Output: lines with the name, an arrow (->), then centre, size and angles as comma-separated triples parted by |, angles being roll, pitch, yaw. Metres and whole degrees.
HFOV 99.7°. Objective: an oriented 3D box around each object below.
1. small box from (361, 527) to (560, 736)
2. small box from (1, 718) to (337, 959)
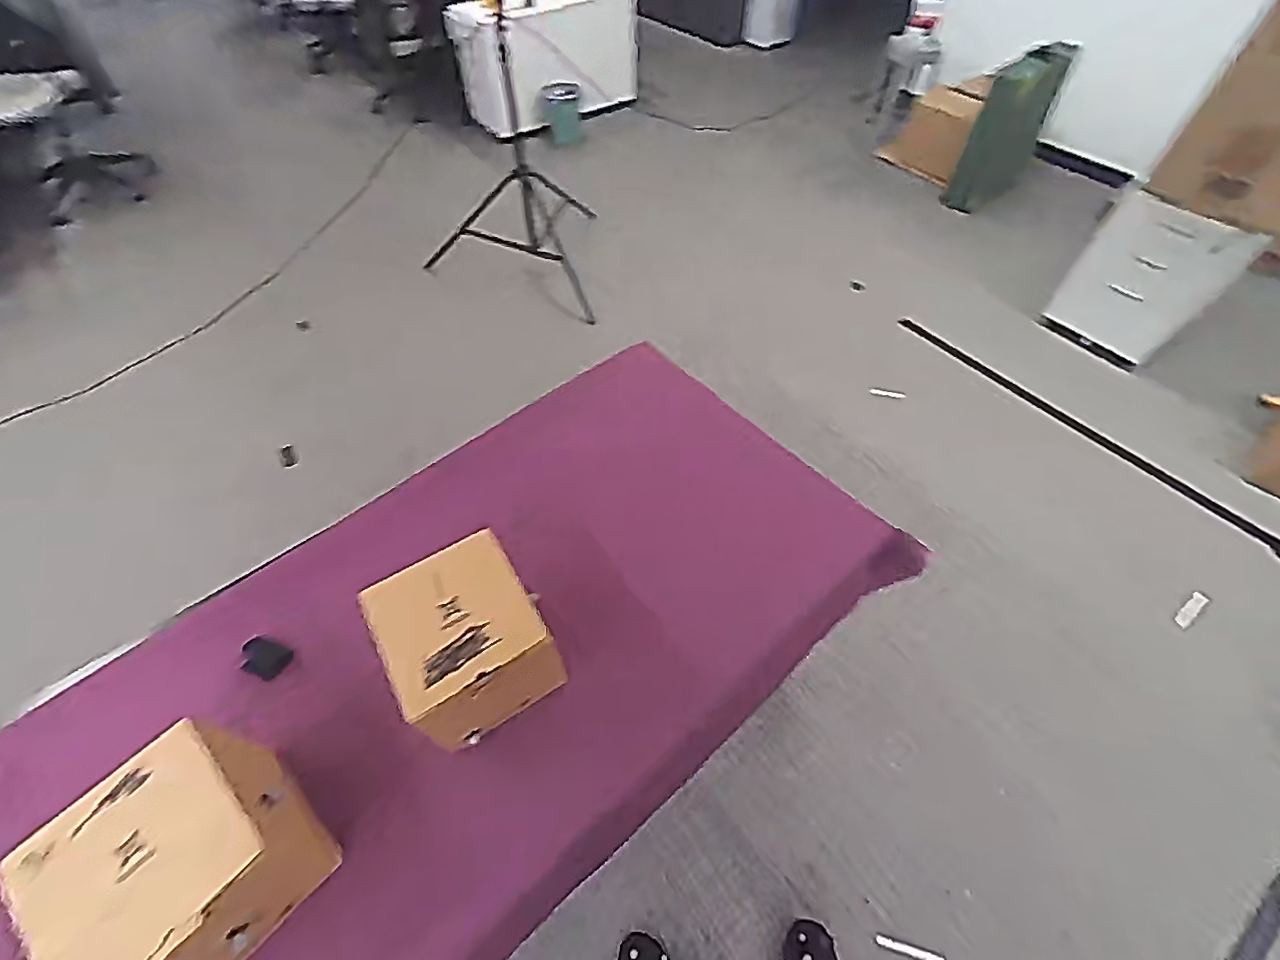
small box -> -0.216, 0.198, 0.687 | 0.168, 0.176, 0.179 | -28, 57, -19
small box -> -0.453, 0.382, 0.550 | 0.179, 0.176, 0.168 | 35, 60, 22
